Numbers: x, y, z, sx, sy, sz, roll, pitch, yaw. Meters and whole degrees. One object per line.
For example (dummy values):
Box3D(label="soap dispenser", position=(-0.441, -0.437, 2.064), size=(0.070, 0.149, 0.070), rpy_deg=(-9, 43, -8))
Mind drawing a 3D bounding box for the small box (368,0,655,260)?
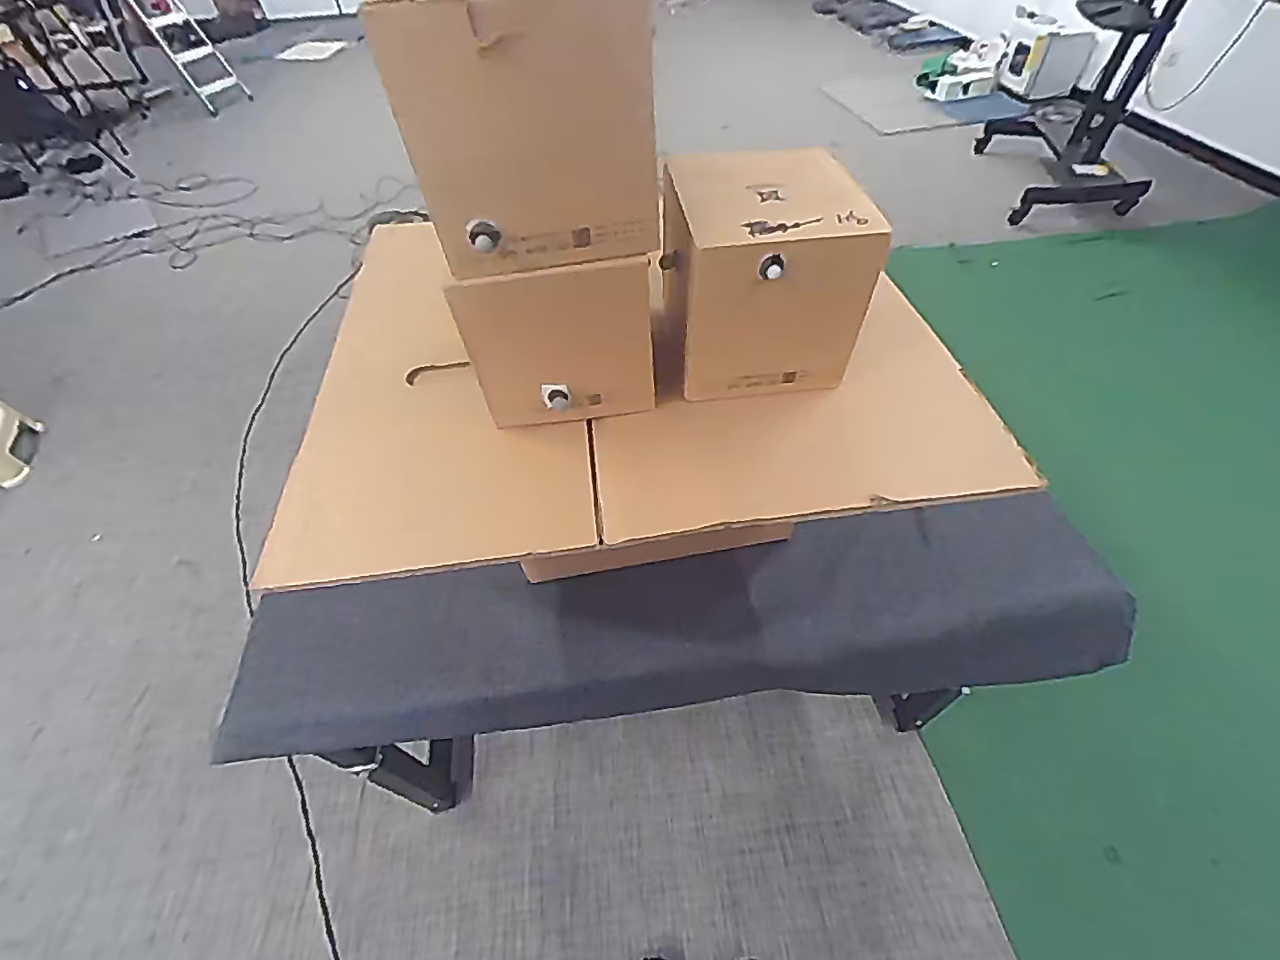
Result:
Box3D(label="small box", position=(-0.082, -0.290, 0.428), size=(0.168, 0.176, 0.179), rpy_deg=(-8, 50, -2))

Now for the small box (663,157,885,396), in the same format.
Box3D(label="small box", position=(0.116, -0.209, 0.559), size=(0.168, 0.176, 0.179), rpy_deg=(-6, 50, -3))
